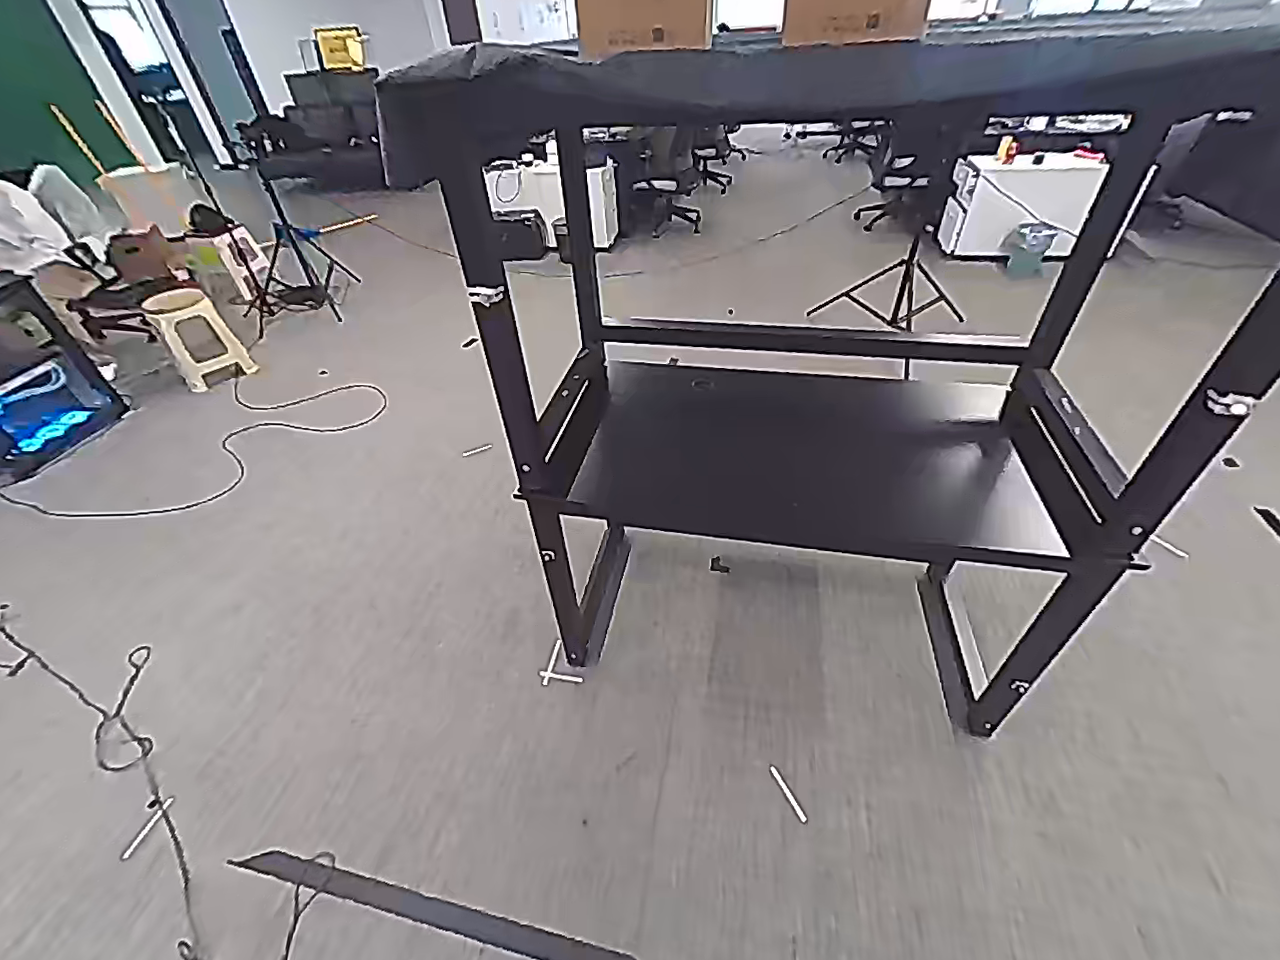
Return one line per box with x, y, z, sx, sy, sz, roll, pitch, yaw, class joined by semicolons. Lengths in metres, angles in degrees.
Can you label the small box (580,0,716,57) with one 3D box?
0.014;-0.658;0.700;0.168;0.176;0.179;4;40;7;small box
